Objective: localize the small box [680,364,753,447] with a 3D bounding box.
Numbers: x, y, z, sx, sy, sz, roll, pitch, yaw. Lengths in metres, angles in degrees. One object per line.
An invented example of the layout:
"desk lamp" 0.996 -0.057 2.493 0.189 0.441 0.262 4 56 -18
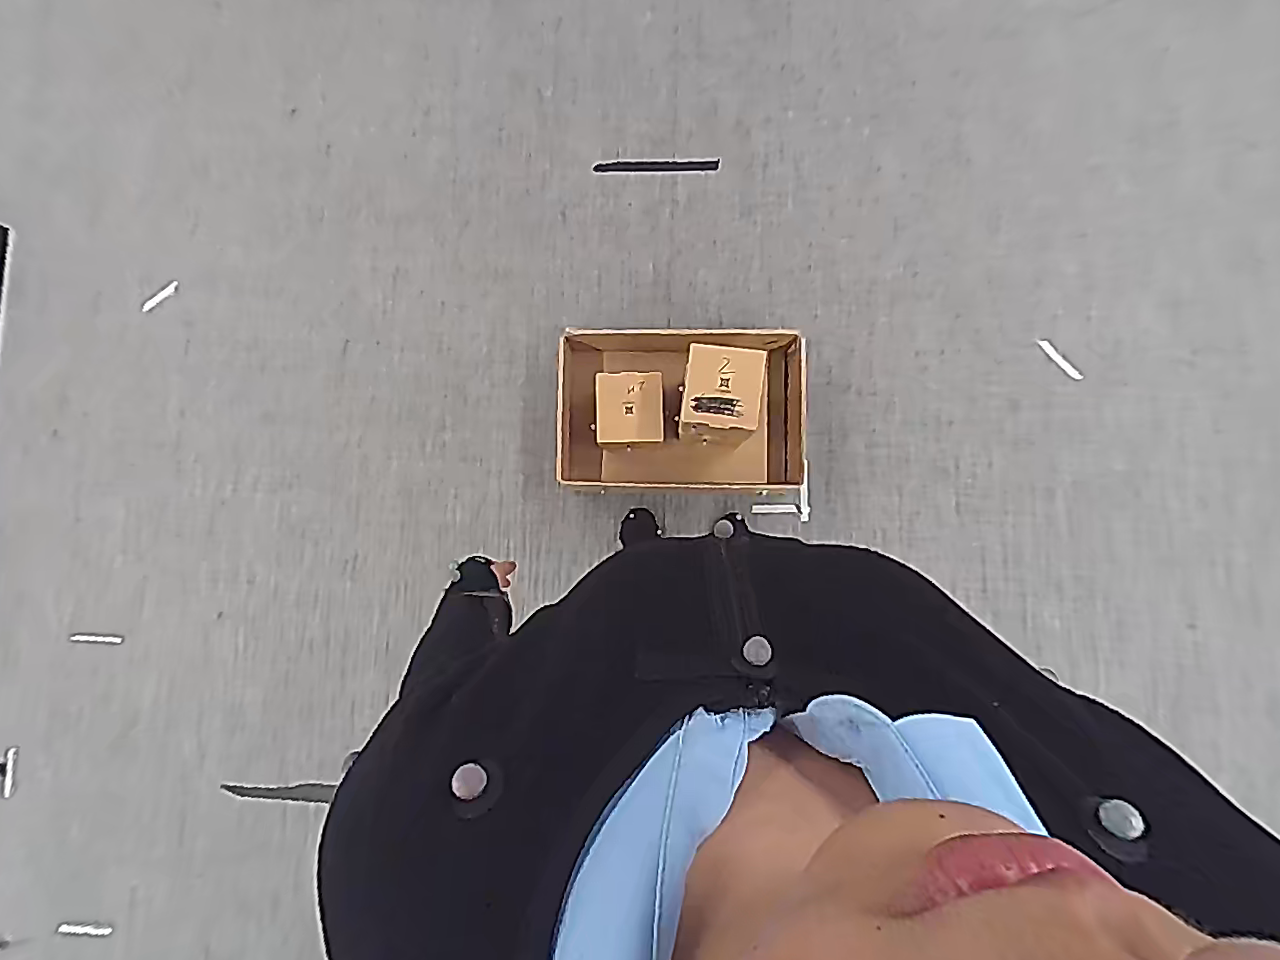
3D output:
"small box" 0.192 -0.188 1.401 0.168 0.176 0.179 6 88 4

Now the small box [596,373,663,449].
"small box" -0.024 -0.173 1.404 0.168 0.176 0.179 -1 87 0
